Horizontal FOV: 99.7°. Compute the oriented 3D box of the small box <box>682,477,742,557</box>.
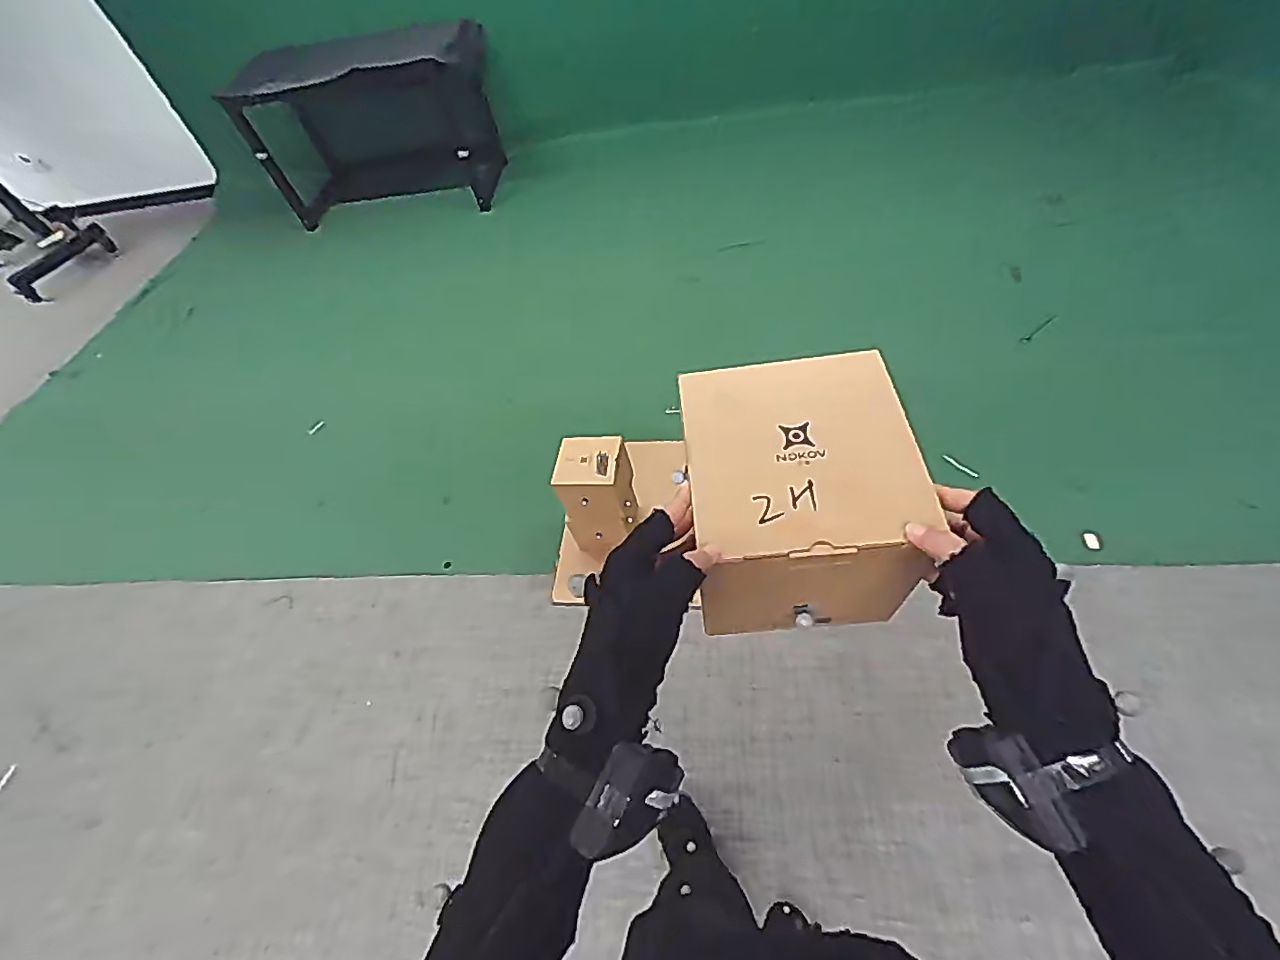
[{"bbox_3d":[0.214,0.109,1.591,0.168,0.176,0.179,-3,53,10],"label":"small box"}]

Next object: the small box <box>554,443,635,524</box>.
[{"bbox_3d":[-0.119,0.013,1.519,0.179,0.176,0.168,0,53,14],"label":"small box"}]
